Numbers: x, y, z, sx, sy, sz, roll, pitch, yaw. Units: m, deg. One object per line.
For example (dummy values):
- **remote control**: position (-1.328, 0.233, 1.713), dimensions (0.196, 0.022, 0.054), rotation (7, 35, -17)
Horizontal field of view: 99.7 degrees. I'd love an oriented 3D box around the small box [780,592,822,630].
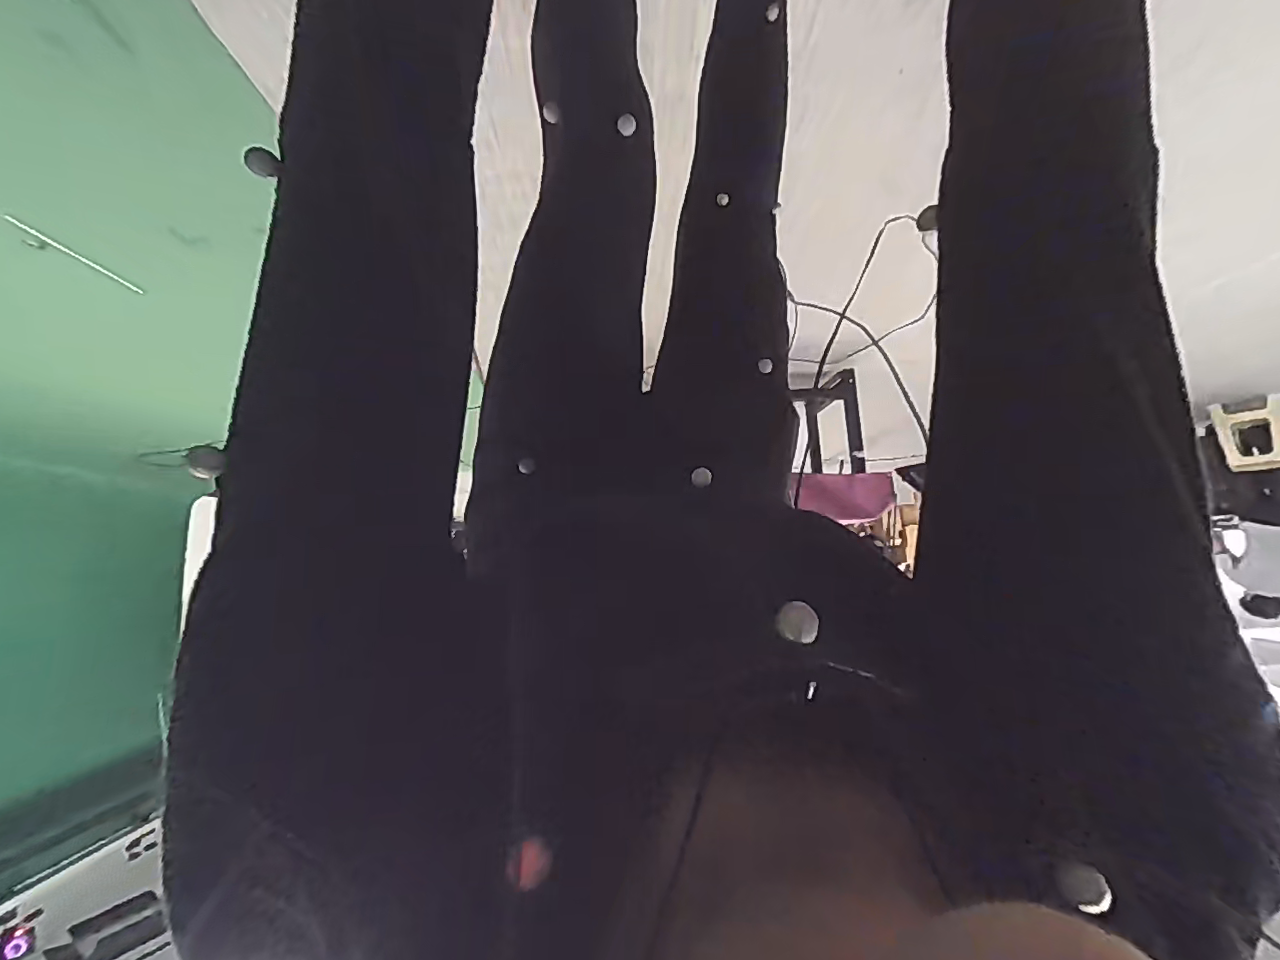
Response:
- **small box**: position (0.757, 0.613, 2.560), dimensions (0.168, 0.176, 0.179), rotation (-3, 172, 8)
